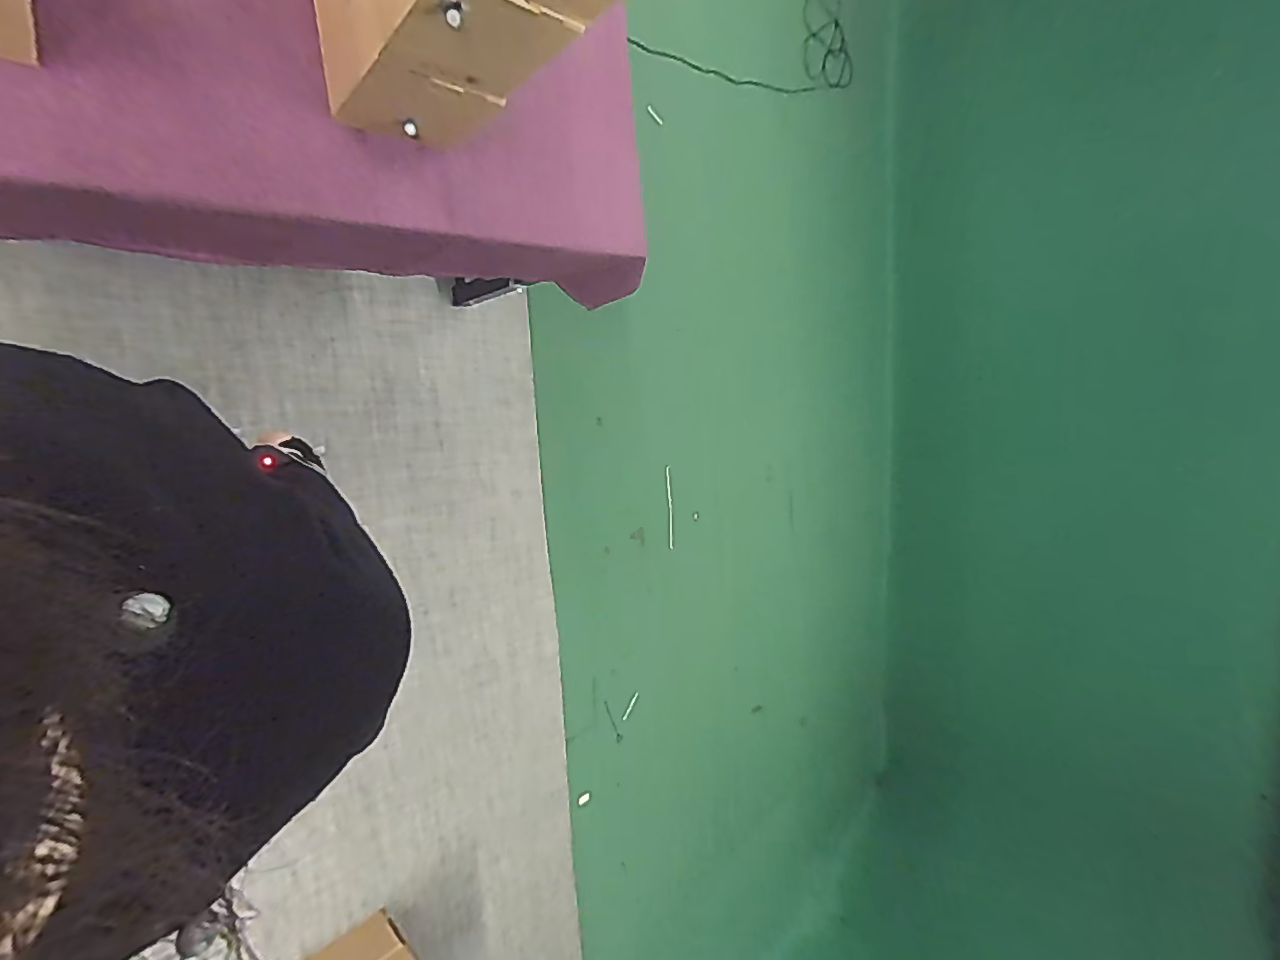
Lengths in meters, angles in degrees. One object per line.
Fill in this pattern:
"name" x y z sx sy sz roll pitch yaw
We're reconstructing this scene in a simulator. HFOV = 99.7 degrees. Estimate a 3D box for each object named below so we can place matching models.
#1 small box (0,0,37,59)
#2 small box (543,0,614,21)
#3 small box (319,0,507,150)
"small box" -0.595 -0.465 0.402 0.168 0.176 0.179 -18 105 -44
"small box" -0.064 -0.555 0.465 0.168 0.176 0.179 -17 105 -44
"small box" -0.295 -0.567 0.697 0.168 0.176 0.179 -13 103 -43
